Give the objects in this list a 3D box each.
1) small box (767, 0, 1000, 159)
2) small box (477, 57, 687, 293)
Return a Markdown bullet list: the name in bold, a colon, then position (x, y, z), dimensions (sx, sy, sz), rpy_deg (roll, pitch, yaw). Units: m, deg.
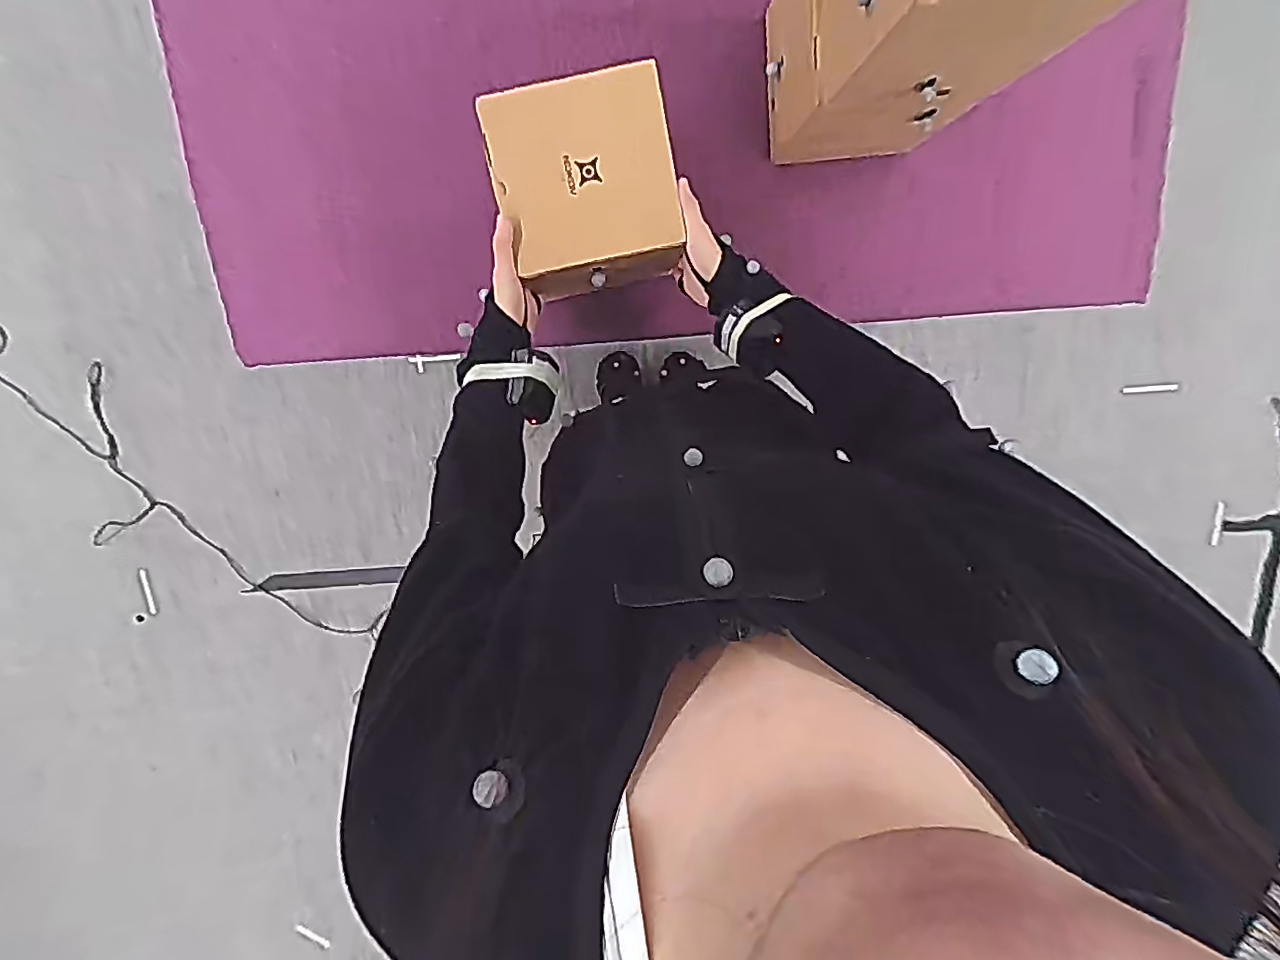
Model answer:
- **small box**: position (0.244, -0.464, 0.575), dimensions (0.179, 0.176, 0.168), rpy_deg (-5, 103, 0)
- **small box**: position (-0.055, -0.315, 0.596), dimensions (0.179, 0.176, 0.168), rpy_deg (-12, 101, 2)
